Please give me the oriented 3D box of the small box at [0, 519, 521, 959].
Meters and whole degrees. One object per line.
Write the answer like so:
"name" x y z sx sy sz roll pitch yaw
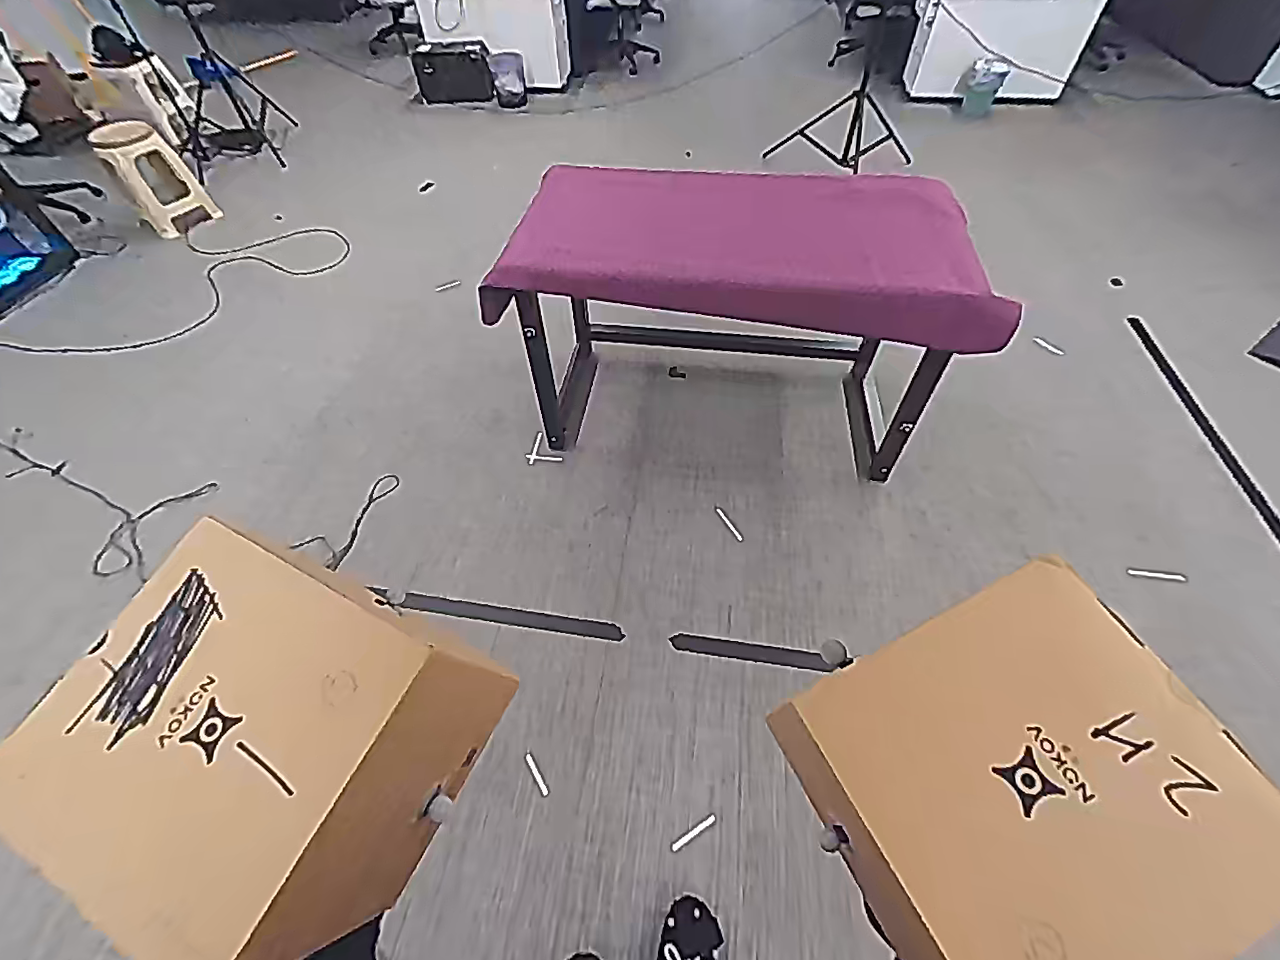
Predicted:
"small box" -0.206 0.155 0.346 0.179 0.176 0.168 23 69 14

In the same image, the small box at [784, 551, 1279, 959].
"small box" 0.205 0.176 0.334 0.179 0.176 0.168 -27 64 -7
